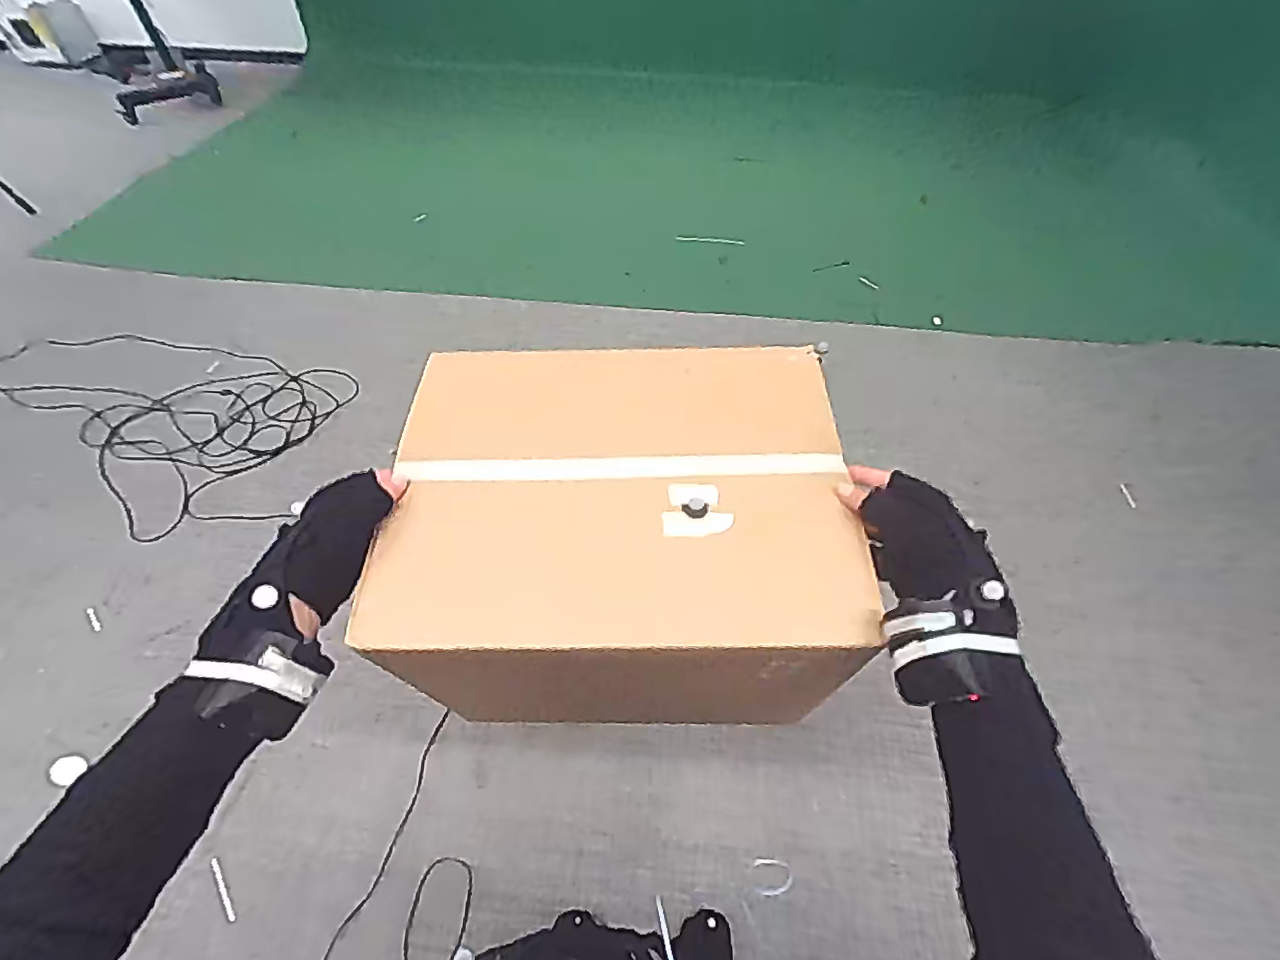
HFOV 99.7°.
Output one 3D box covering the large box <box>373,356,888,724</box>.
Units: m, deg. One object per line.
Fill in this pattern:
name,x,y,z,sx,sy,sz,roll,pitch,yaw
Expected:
large box,-0.009,0.080,0.616,0.408,0.320,0.320,0,56,0
